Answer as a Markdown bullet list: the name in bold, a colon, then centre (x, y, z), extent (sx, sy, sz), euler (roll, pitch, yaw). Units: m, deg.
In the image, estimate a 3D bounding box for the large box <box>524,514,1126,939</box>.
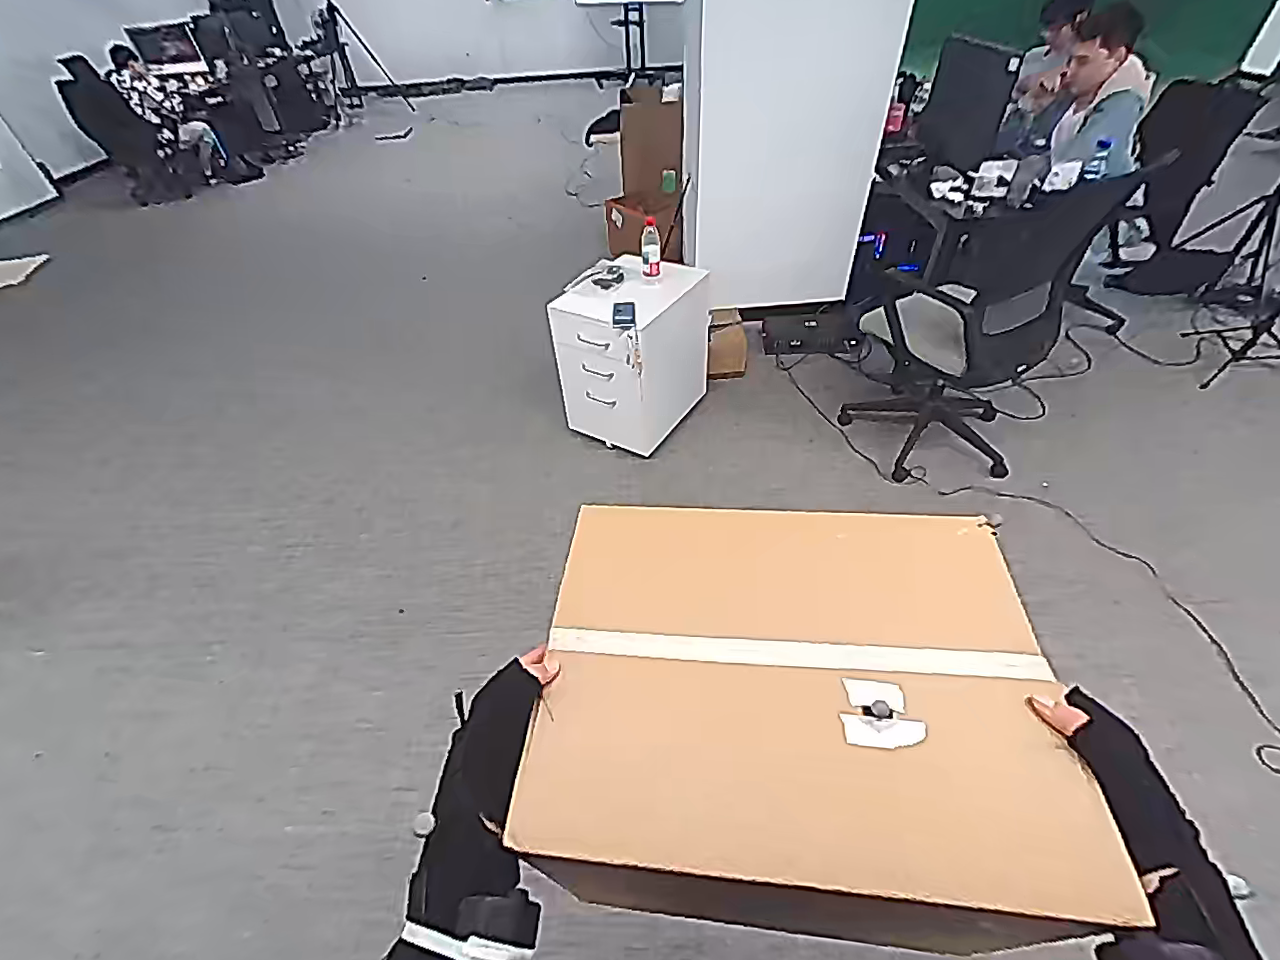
- **large box**: centre (0.135, 0.253, 0.569), extent (0.408, 0.320, 0.320), euler (2, 48, 8)
